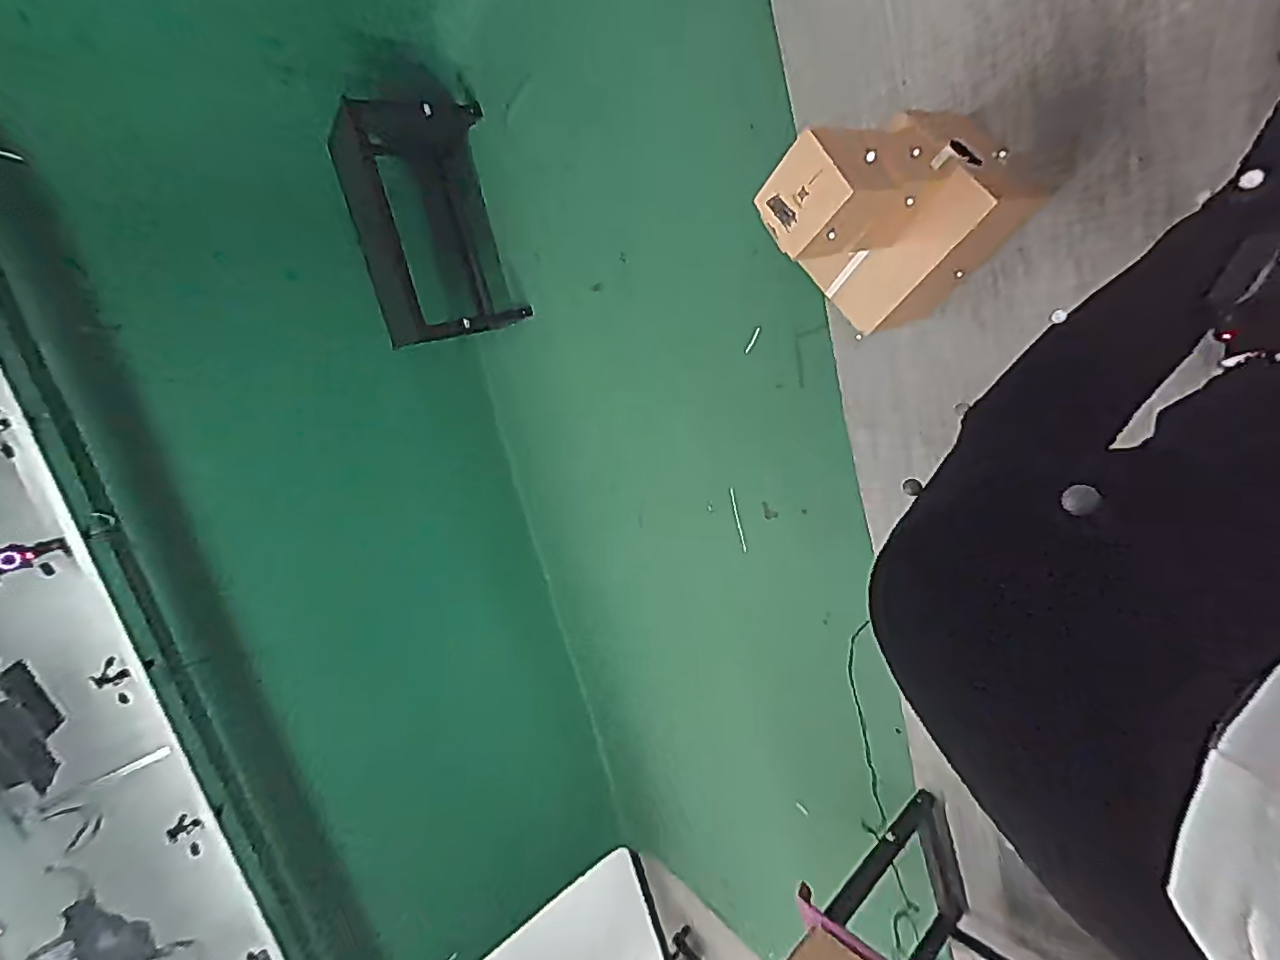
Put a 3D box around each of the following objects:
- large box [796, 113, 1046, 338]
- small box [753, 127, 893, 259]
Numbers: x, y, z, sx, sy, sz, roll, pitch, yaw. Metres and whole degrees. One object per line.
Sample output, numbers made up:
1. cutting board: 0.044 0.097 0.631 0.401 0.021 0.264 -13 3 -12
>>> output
1. large box: 0.693 -0.639 1.377 0.320 0.320 0.408 58 146 17
2. small box: 0.374 -0.583 1.109 0.168 0.176 0.179 61 146 10
